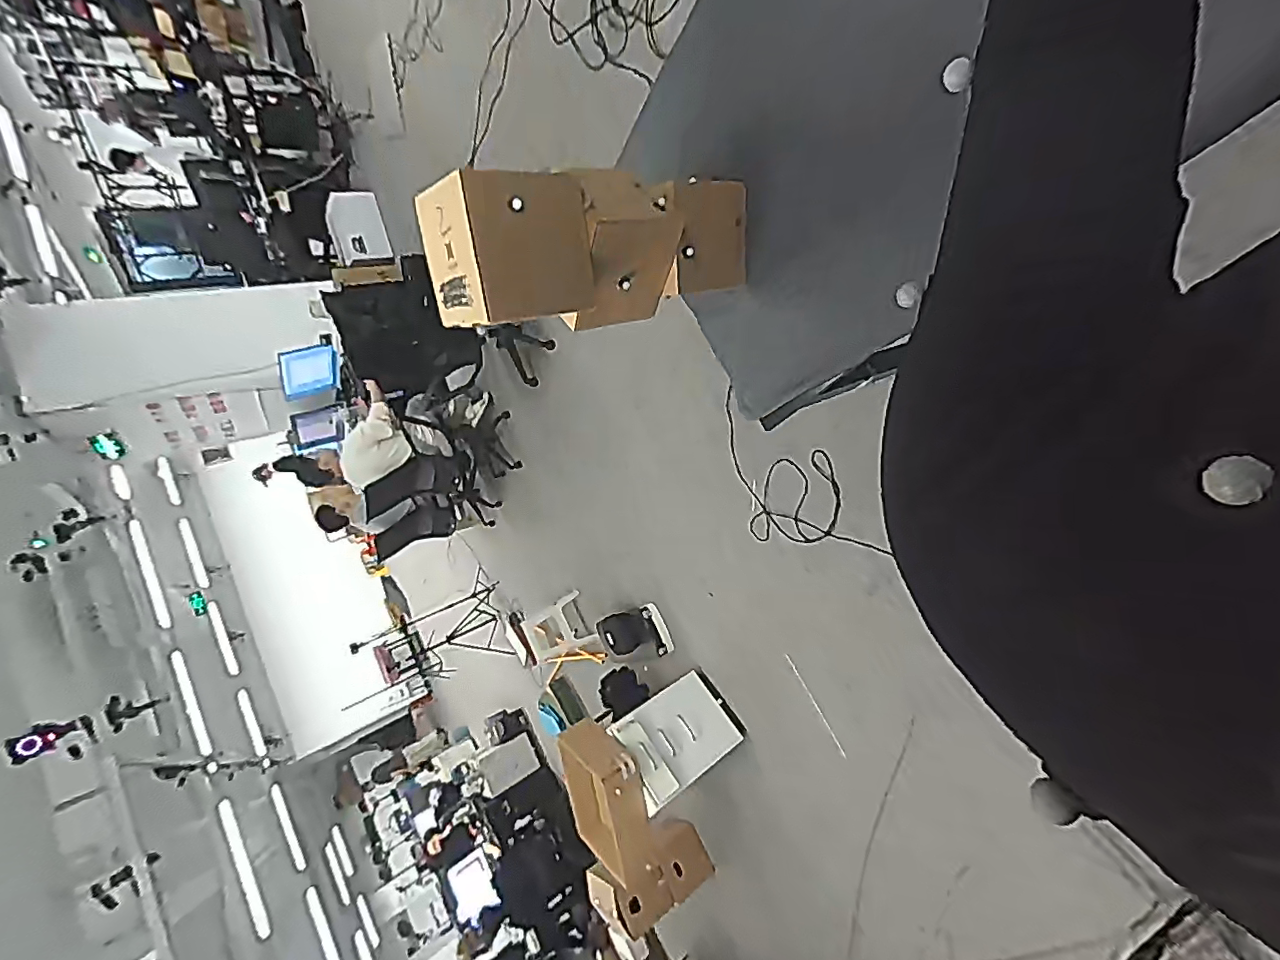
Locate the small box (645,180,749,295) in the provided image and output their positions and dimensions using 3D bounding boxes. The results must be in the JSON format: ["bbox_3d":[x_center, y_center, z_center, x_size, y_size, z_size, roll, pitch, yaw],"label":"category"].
[{"bbox_3d":[0.069,-0.419,0.945,0.179,0.176,0.168,23,125,47],"label":"small box"}]

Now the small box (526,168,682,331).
[{"bbox_3d":[-0.058,-0.366,0.853,0.168,0.176,0.179,50,143,25],"label":"small box"}]
